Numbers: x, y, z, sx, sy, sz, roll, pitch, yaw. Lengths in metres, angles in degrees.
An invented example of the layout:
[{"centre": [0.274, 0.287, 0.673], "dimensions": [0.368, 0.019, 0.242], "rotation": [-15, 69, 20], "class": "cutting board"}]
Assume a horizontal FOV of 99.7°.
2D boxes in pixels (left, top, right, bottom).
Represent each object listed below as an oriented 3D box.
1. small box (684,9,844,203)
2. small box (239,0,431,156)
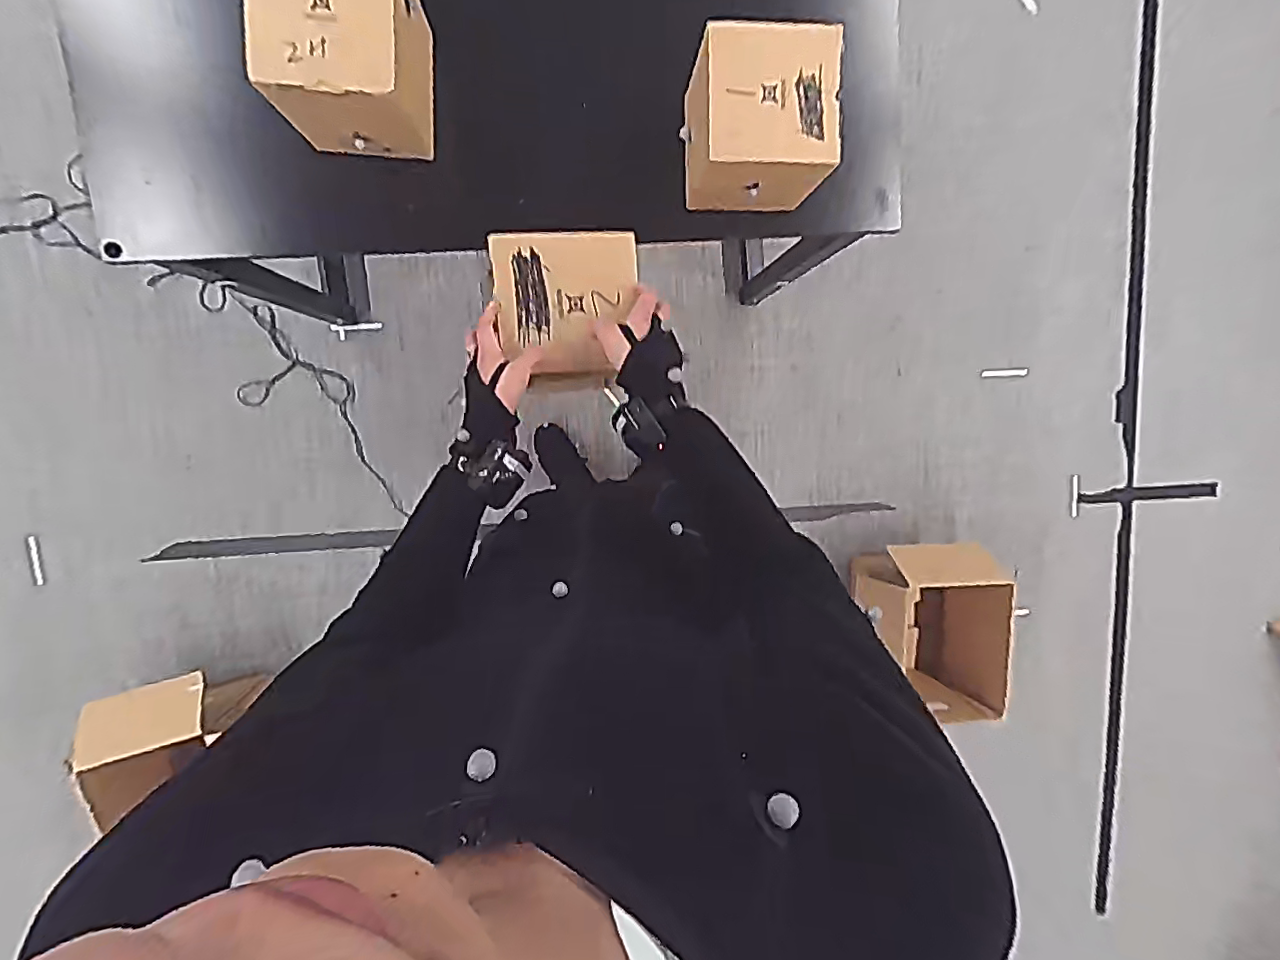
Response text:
[{"centre": [0.162, -0.503, 0.753], "dimensions": [0.179, 0.176, 0.168], "rotation": [-2, 97, -4], "class": "small box"}, {"centre": [-0.376, -0.553, 0.693], "dimensions": [0.168, 0.176, 0.179], "rotation": [1, 98, -6], "class": "small box"}]
